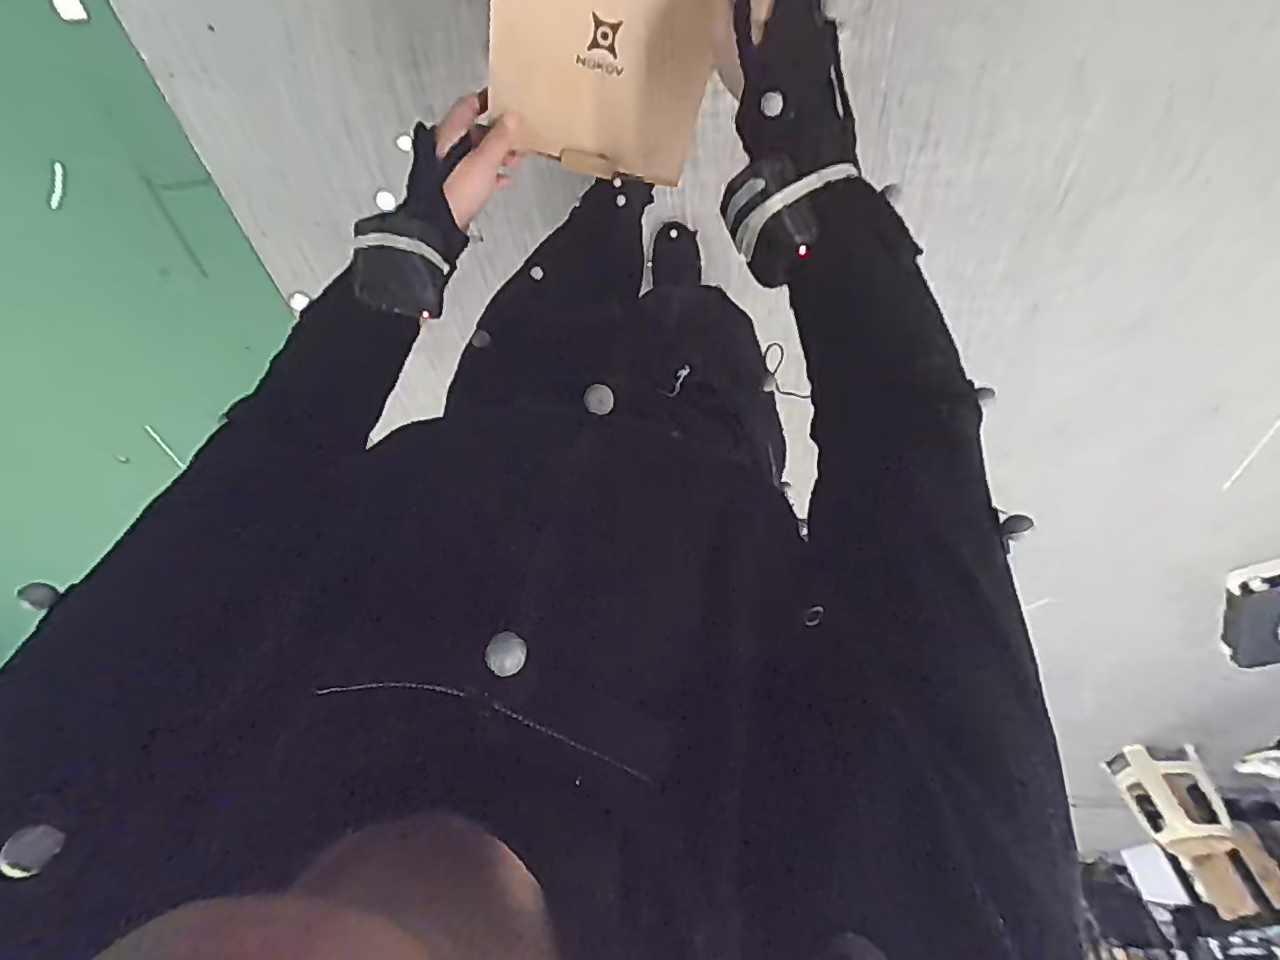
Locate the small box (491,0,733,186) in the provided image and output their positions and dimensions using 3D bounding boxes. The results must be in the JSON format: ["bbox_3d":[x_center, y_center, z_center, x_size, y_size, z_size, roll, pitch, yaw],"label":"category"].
[{"bbox_3d":[-0.025,-0.383,0.444,0.168,0.176,0.179,7,140,-11],"label":"small box"}]
